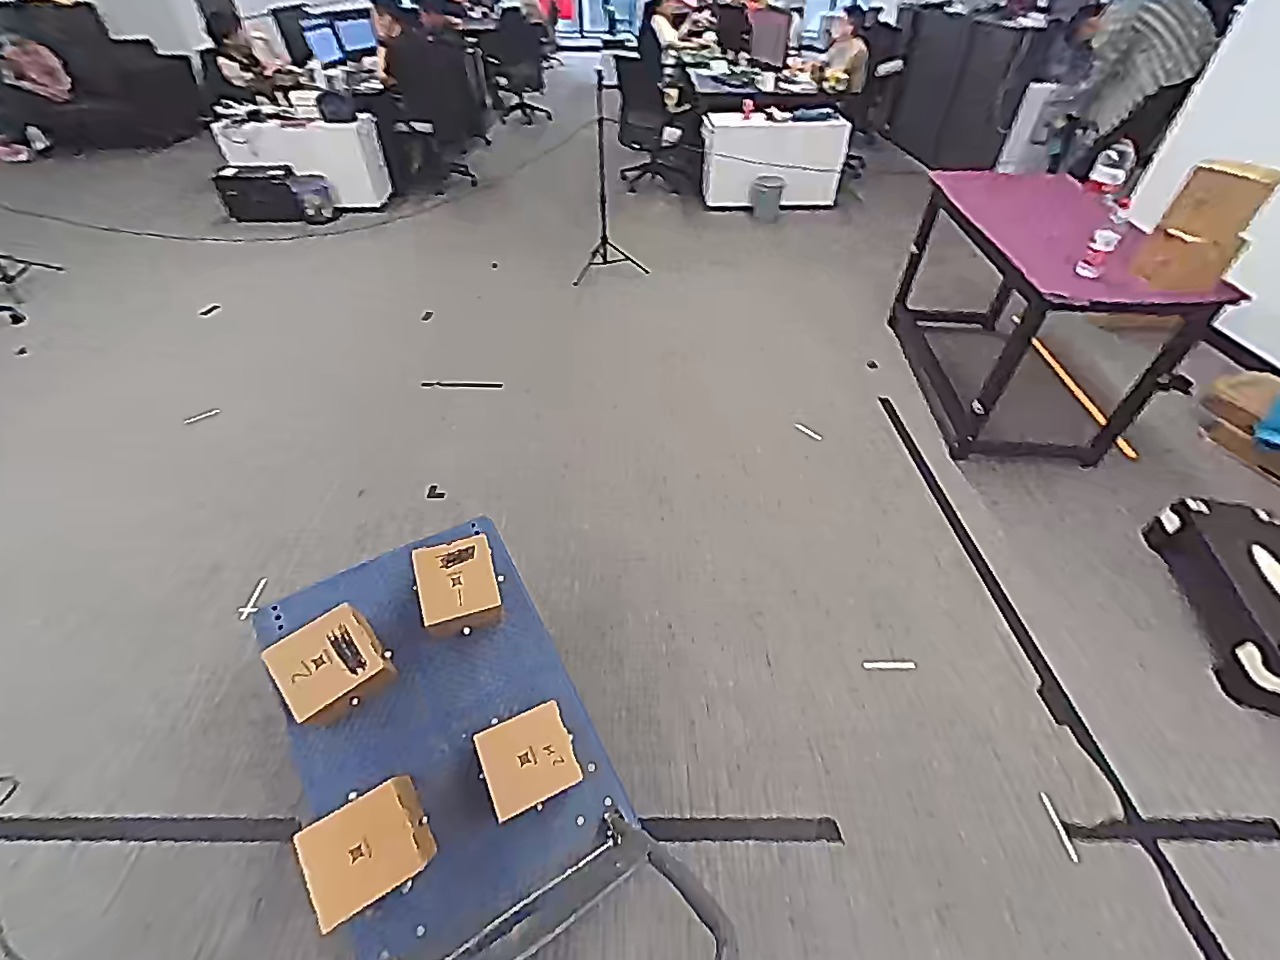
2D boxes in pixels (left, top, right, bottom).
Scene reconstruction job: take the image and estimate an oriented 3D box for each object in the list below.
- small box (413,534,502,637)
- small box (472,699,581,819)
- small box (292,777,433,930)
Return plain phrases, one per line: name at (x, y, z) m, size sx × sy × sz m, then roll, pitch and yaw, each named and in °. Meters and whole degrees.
small box at (-0.424, 0.250, 1.268) m, size 0.168 × 0.176 × 0.179 m, roll -13°, pitch 68°, yaw -18°
small box at (-0.238, 0.584, 1.140) m, size 0.179 × 0.176 × 0.168 m, roll -18°, pitch 69°, yaw -20°
small box at (-0.514, 0.691, 1.024) m, size 0.179 × 0.176 × 0.168 m, roll -24°, pitch 71°, yaw -24°
